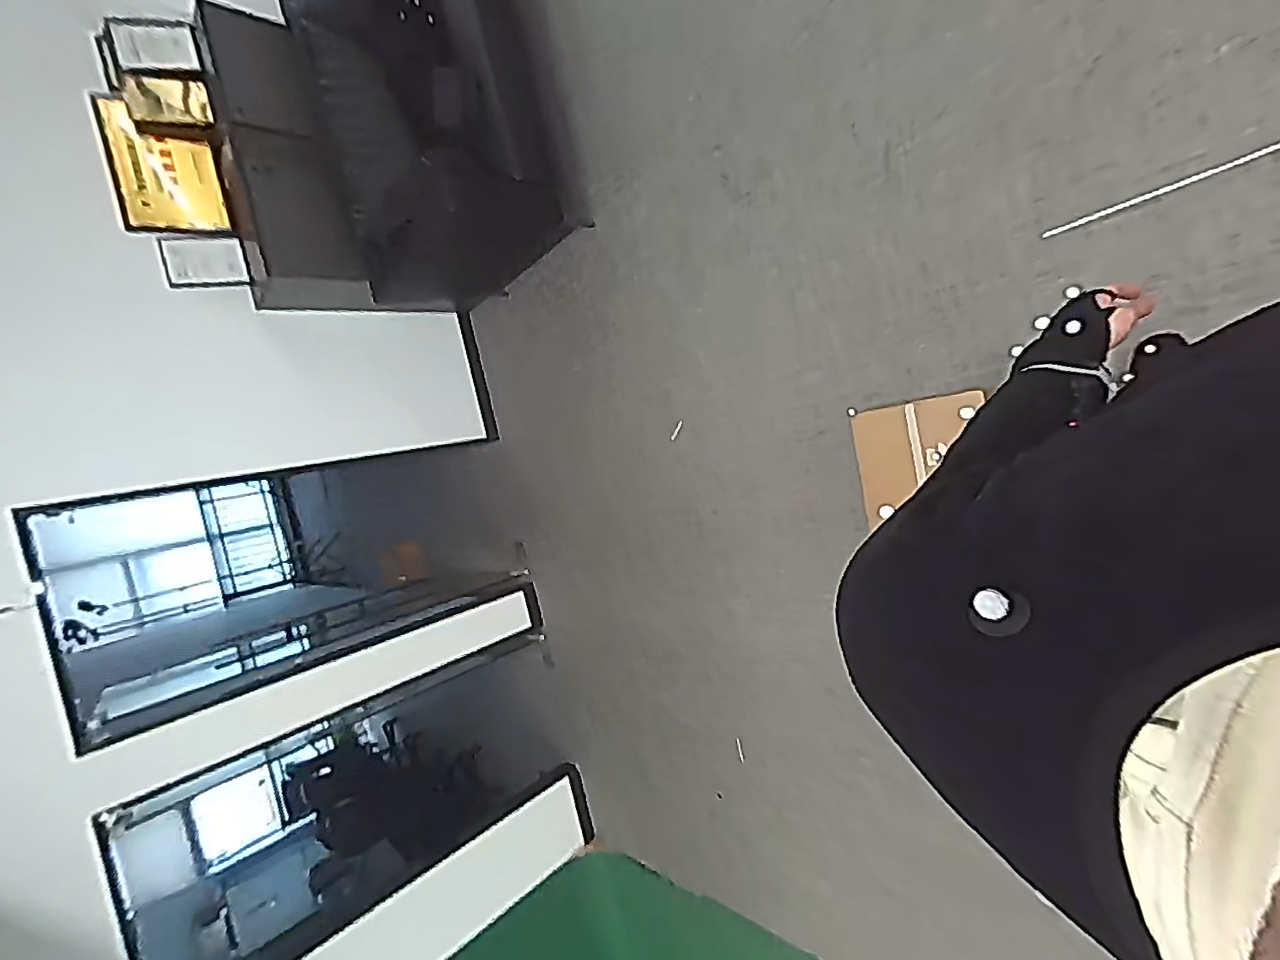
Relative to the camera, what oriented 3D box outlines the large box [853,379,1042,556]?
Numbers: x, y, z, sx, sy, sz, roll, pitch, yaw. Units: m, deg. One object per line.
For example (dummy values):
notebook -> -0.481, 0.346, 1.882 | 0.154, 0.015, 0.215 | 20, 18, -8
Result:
large box -> 0.812, -0.030, 1.425 | 0.320, 0.320, 0.408 | -8, 94, 48
